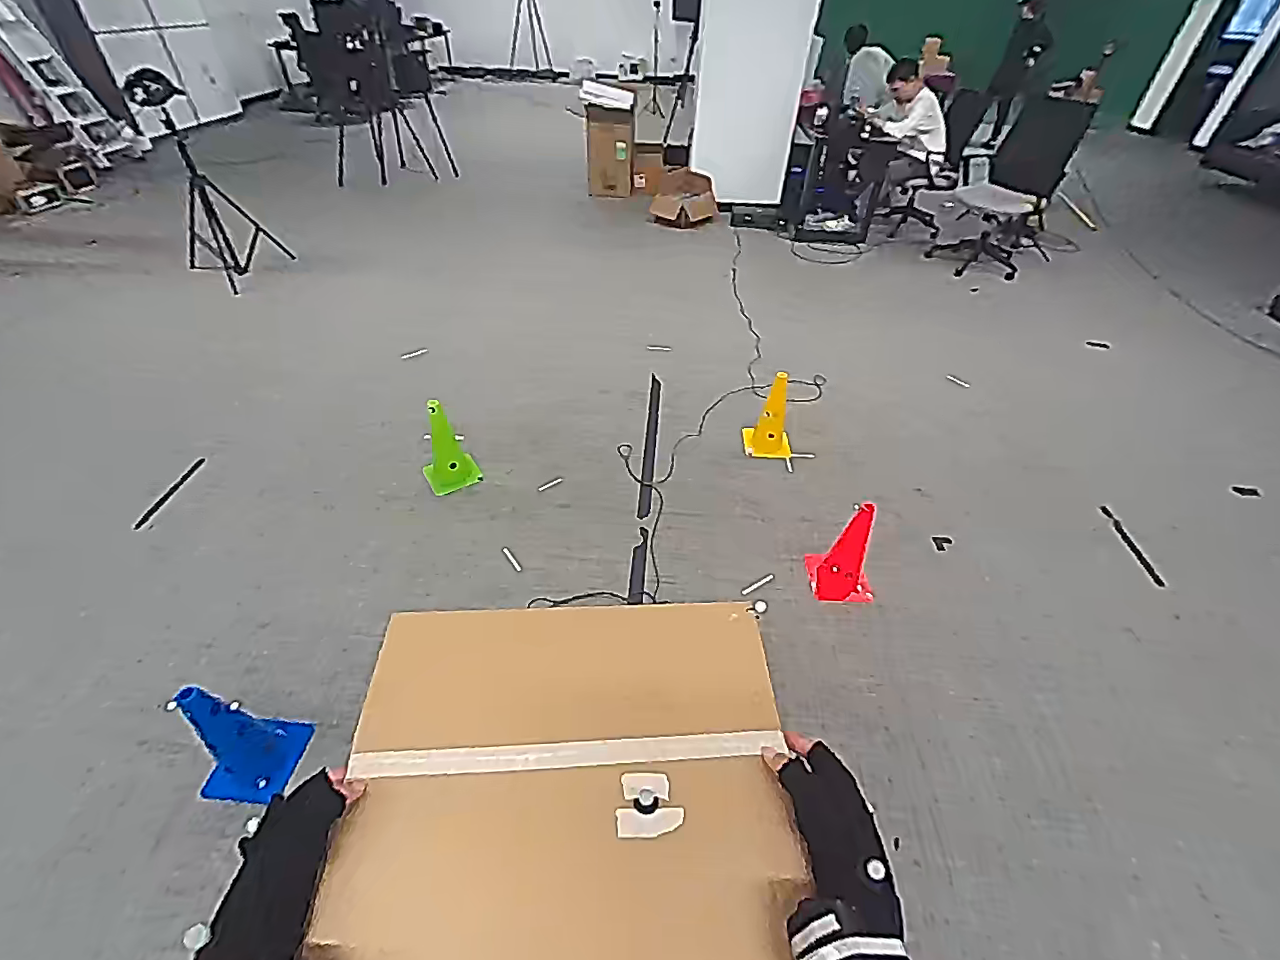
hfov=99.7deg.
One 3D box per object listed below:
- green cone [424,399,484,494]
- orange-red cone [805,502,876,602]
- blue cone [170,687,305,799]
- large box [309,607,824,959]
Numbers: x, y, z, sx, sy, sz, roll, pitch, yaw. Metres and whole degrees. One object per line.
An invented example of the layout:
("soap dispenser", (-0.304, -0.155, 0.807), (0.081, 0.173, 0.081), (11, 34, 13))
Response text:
("green cone", (-0.762, -0.159, 2.101), (0.202, 0.368, 0.200), (-25, 48, -24))
("orange-red cone", (0.692, 0.209, 1.766), (0.198, 0.360, 0.199), (3, 41, -1))
("blue cone", (-0.989, 0.600, 1.293), (0.192, 0.380, 0.193), (5, 42, 5))
("large box", (-0.067, 0.364, 0.618), (0.408, 0.320, 0.320), (0, 46, -4))
